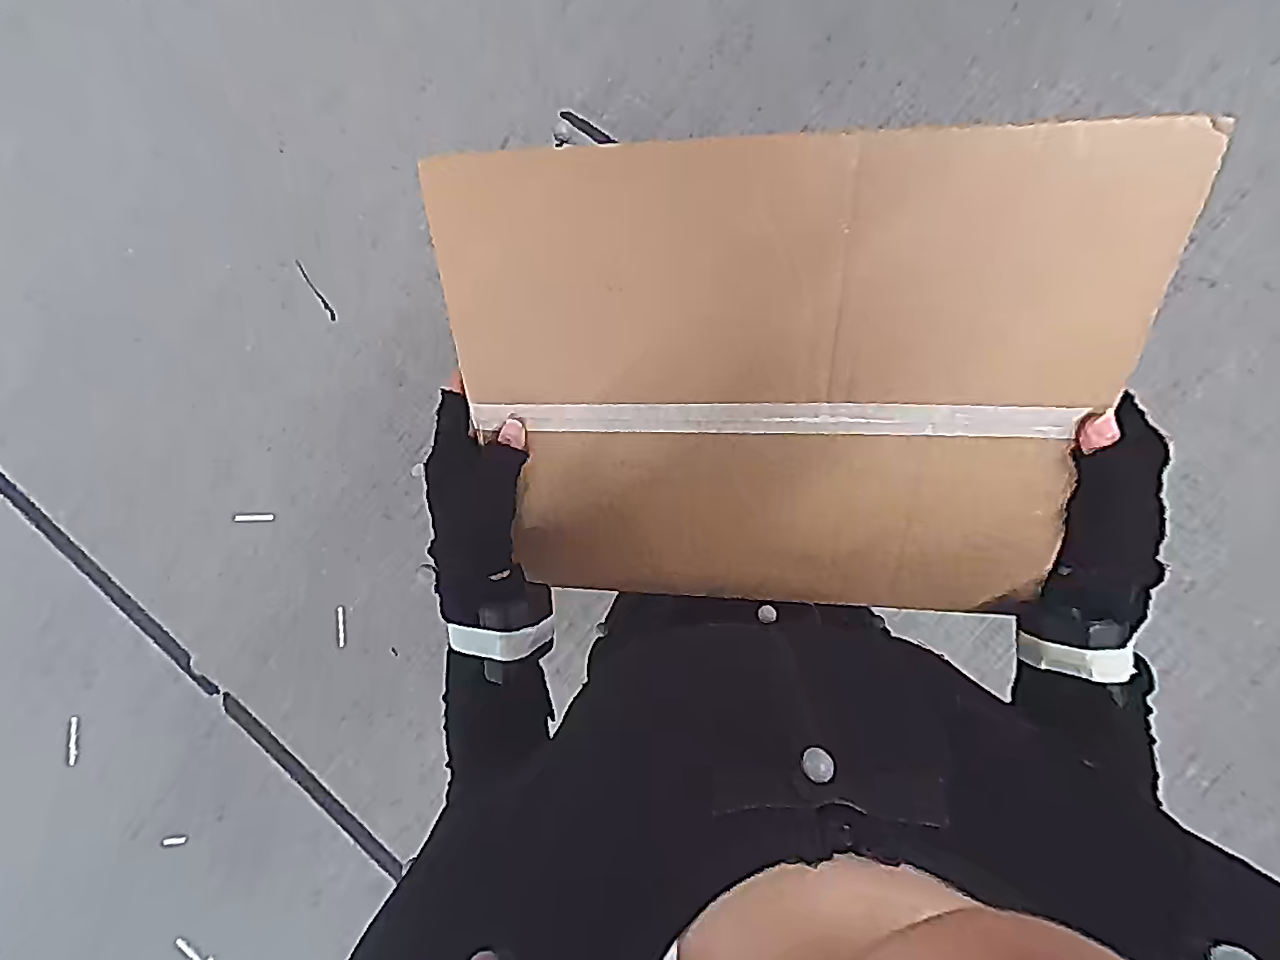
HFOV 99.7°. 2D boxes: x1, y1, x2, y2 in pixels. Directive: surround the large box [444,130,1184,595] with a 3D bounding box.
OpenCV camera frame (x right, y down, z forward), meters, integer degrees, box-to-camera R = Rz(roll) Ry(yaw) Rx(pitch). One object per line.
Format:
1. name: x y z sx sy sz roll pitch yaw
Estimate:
1. large box: 0.101 -0.121 0.497 0.408 0.320 0.320 2 122 7
